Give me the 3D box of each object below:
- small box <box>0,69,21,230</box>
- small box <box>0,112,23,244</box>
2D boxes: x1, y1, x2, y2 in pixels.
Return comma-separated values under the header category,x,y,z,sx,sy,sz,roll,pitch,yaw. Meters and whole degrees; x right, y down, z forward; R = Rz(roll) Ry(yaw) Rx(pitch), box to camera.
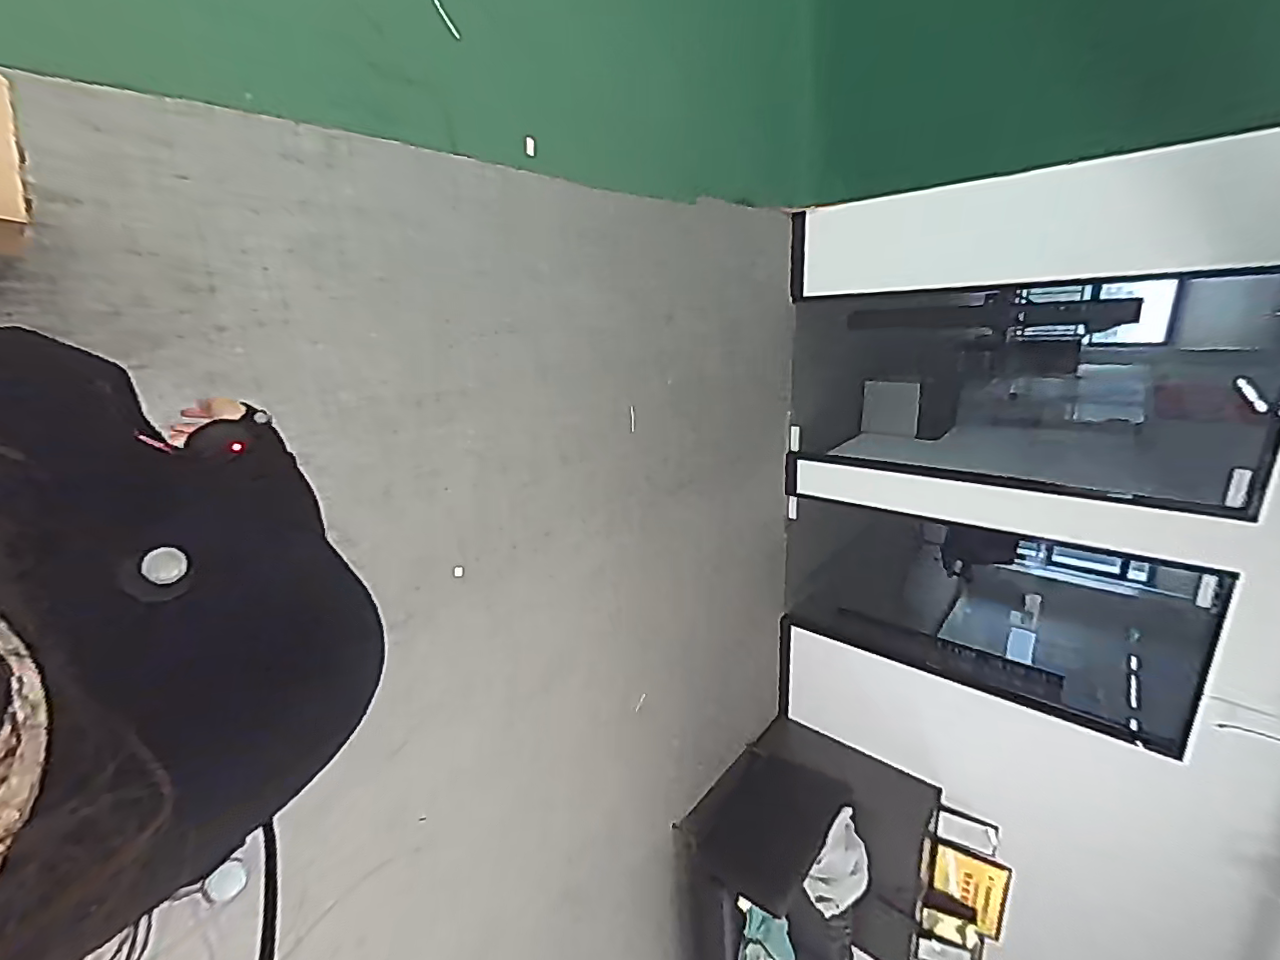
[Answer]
category,x,y,z,sx,sy,sz,roll,pitch,yaw
small box,-0.861,-0.403,0.629,0.179,0.176,0.168,-8,106,-49
small box,-0.980,-0.433,0.738,0.179,0.176,0.168,-5,104,-49
